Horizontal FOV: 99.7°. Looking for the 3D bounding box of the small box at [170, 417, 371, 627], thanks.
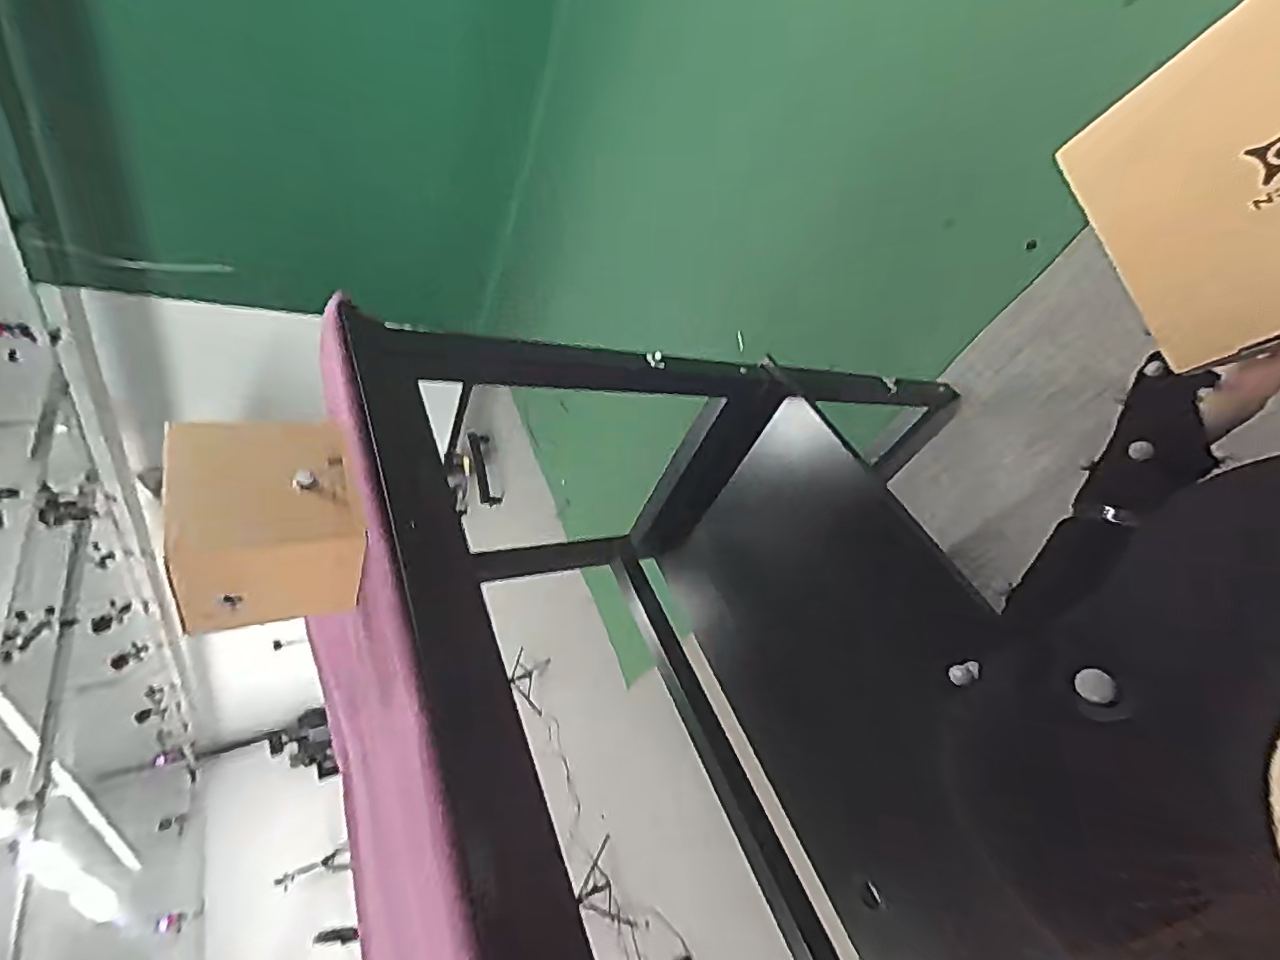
[{"bbox_3d":[-0.415,0.047,0.622,0.179,0.176,0.168,-54,51,42],"label":"small box"}]
